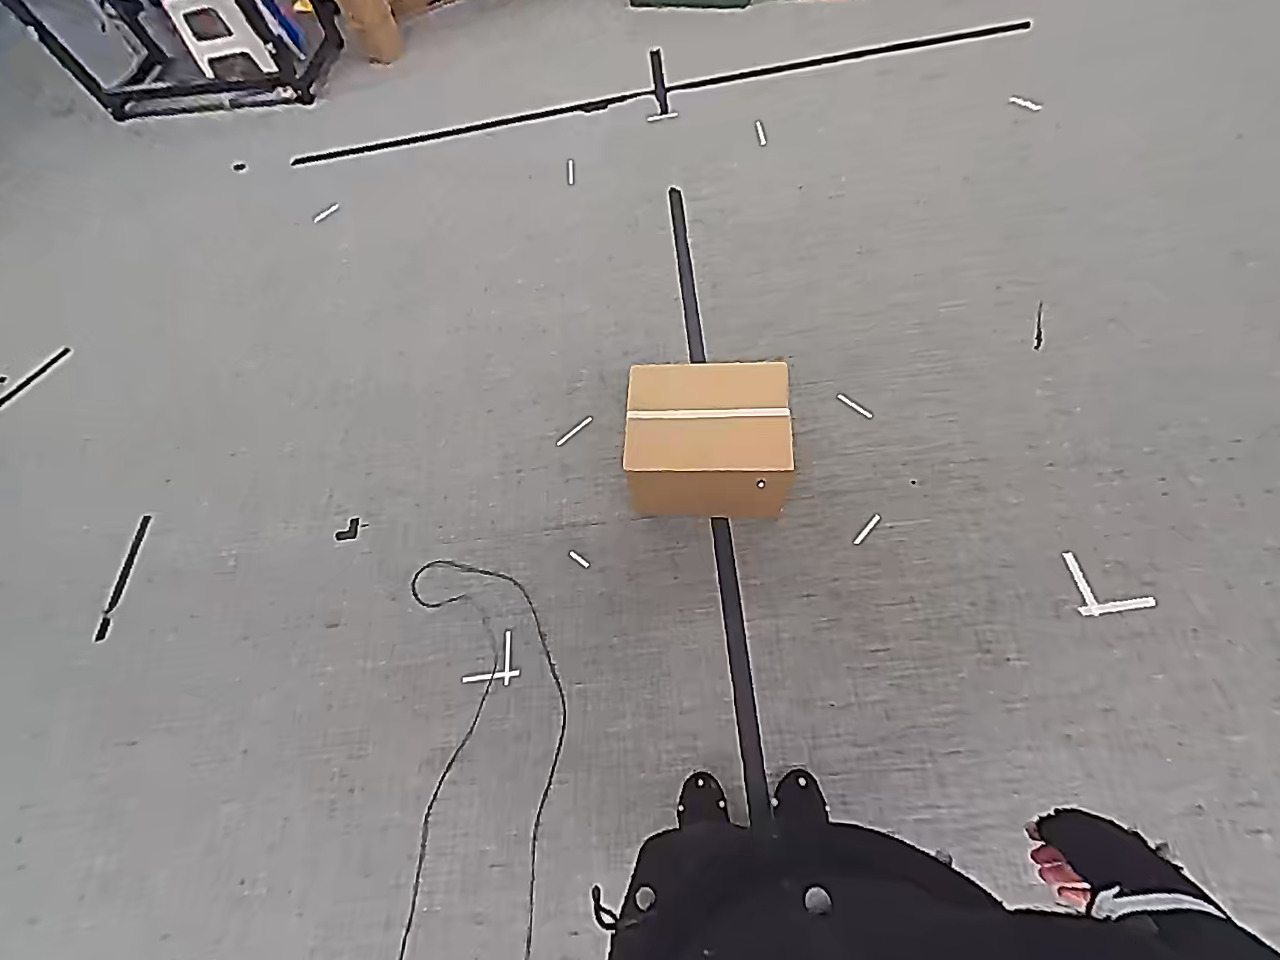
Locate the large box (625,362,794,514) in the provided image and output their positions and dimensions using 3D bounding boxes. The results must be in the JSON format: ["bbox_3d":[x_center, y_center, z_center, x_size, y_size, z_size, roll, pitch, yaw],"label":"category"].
[{"bbox_3d":[0.184,-0.099,1.469,0.408,0.320,0.320,0,65,7],"label":"large box"}]
